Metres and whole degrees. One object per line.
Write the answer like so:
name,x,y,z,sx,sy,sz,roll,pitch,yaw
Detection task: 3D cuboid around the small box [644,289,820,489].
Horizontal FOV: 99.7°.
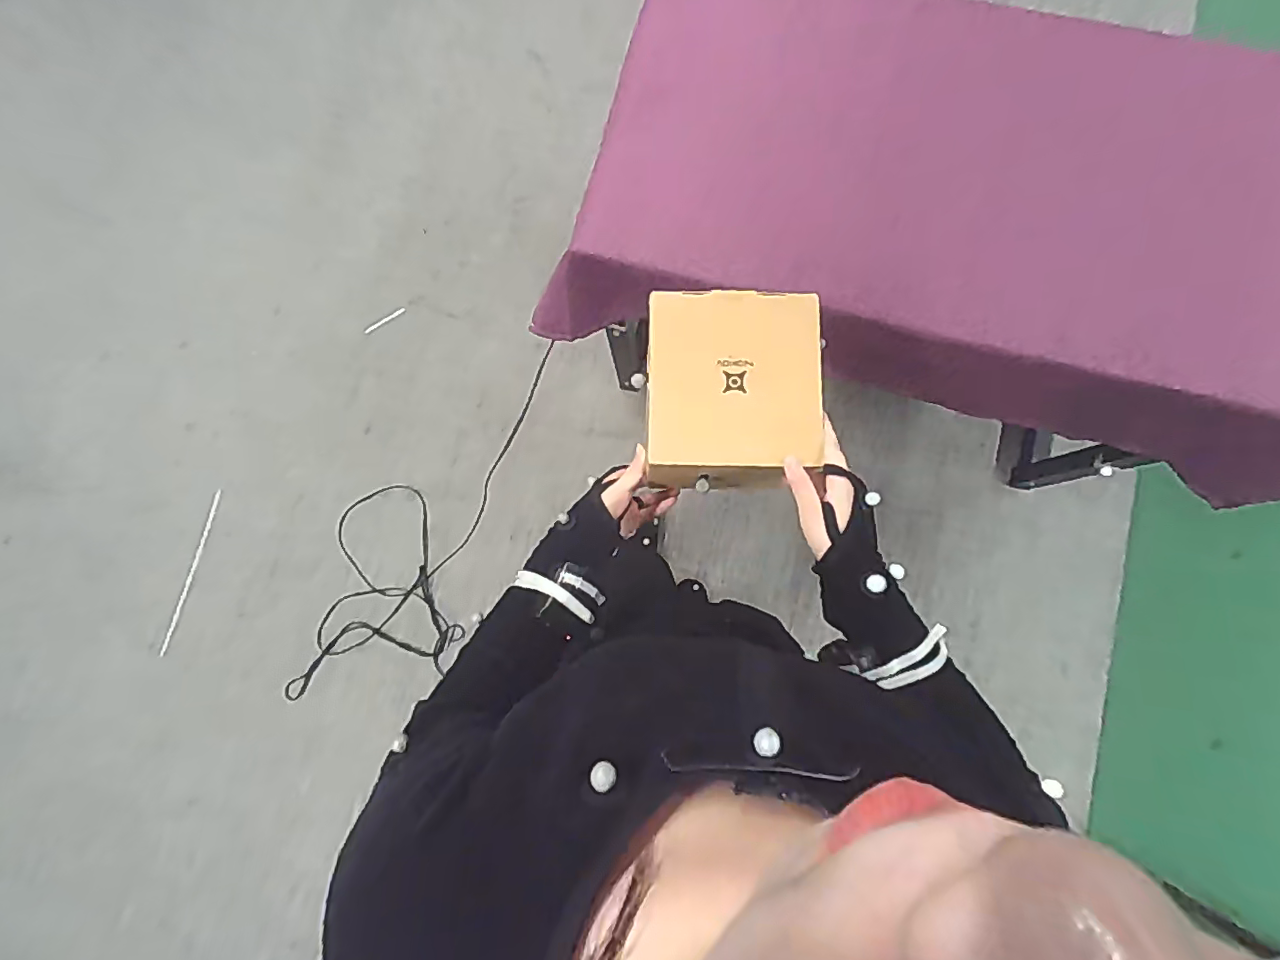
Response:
small box,0.091,-0.087,0.594,0.168,0.176,0.179,1,80,1
